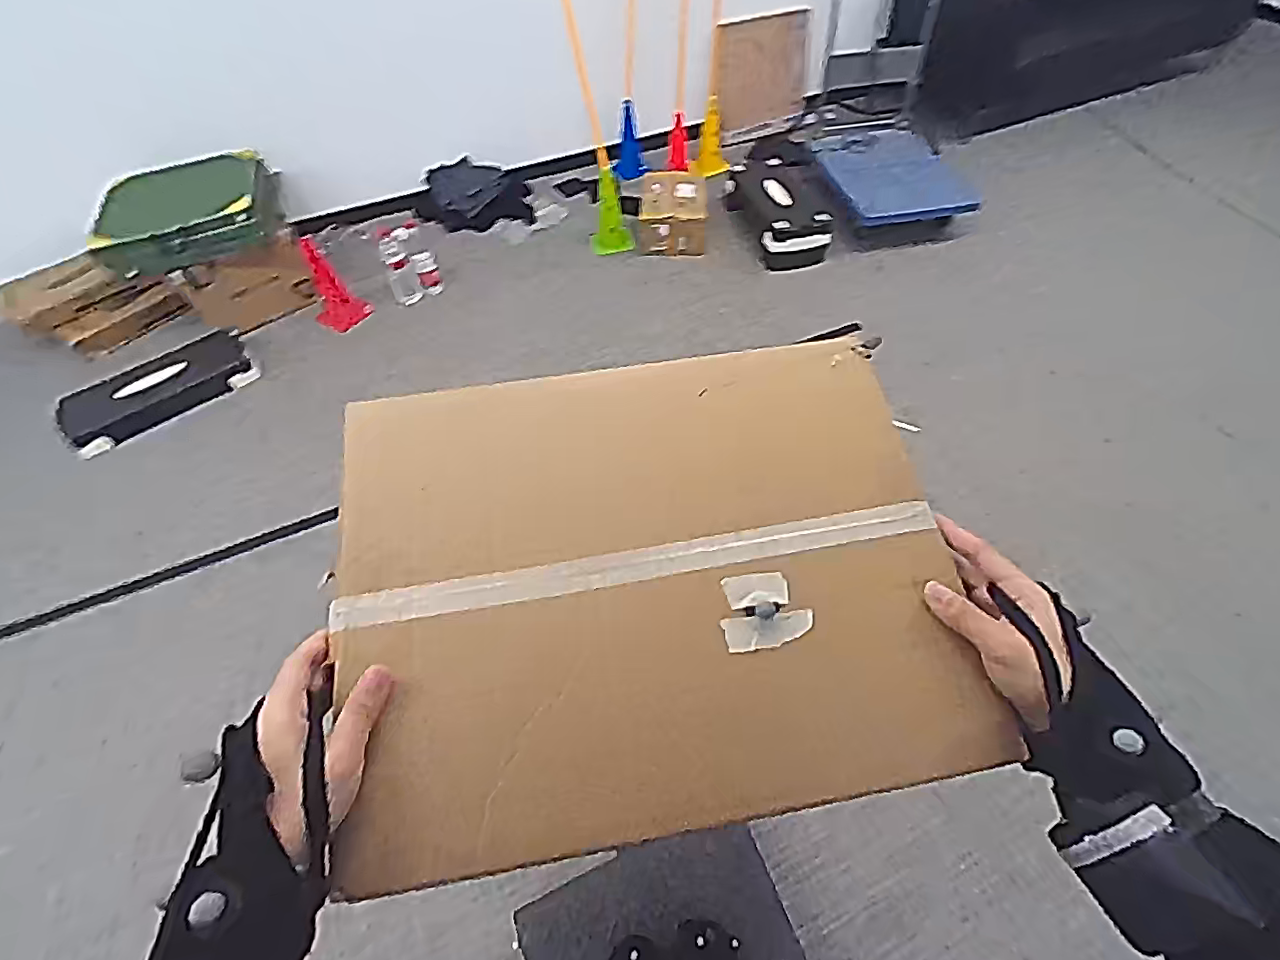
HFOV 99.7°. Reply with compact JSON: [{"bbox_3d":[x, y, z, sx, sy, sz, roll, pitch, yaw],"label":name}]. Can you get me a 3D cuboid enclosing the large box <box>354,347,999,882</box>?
[{"bbox_3d":[0.002,0.115,0.513,0.408,0.320,0.320,-8,68,-5],"label":"large box"}]
